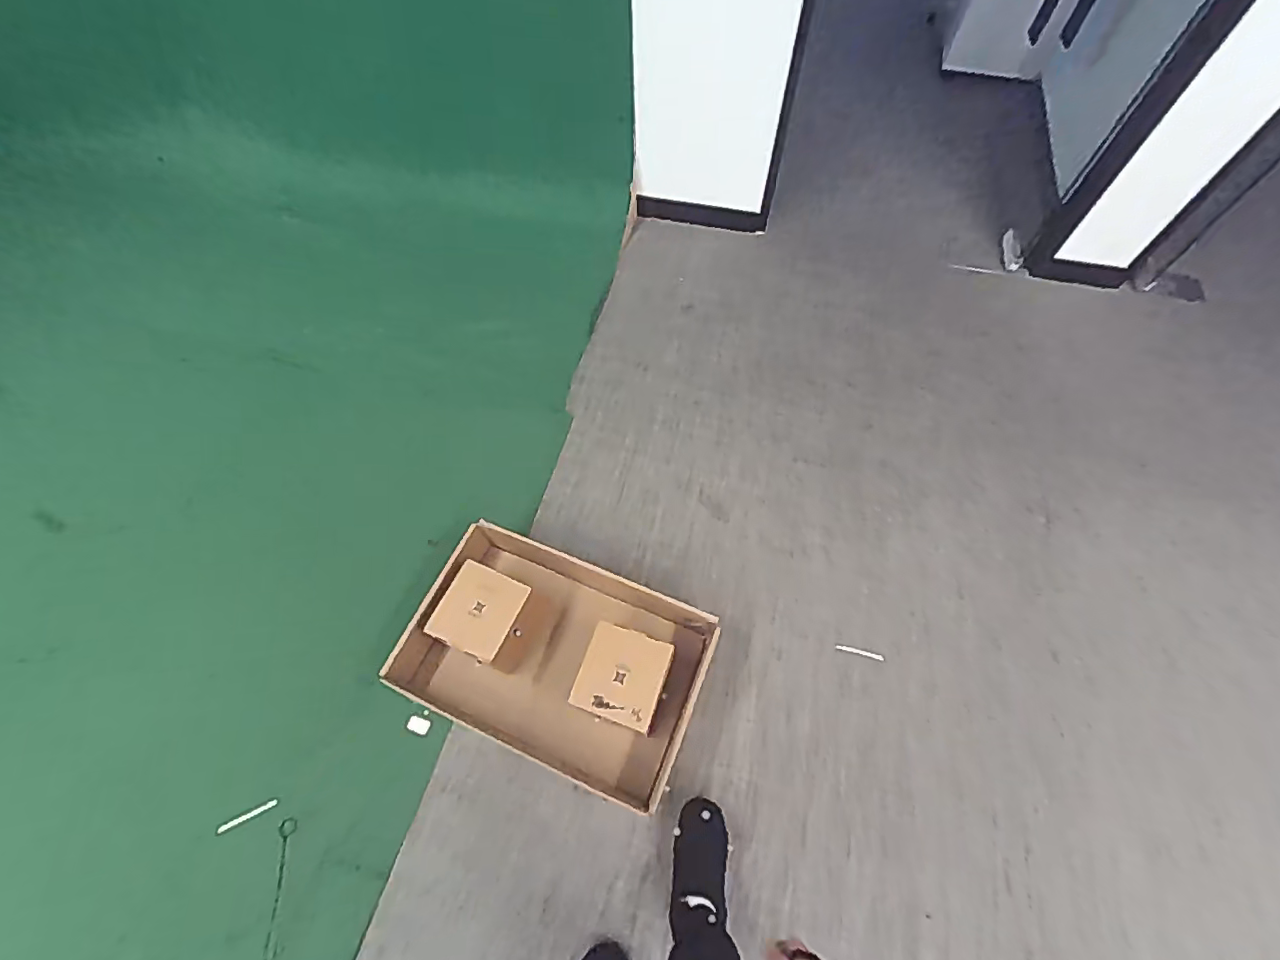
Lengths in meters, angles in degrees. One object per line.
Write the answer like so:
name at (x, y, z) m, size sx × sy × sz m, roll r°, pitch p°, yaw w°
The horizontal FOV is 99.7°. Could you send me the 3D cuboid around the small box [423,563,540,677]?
small box at (-0.340, 0.318, 1.203) m, size 0.168 × 0.176 × 0.179 m, roll 23°, pitch 65°, yaw 11°
